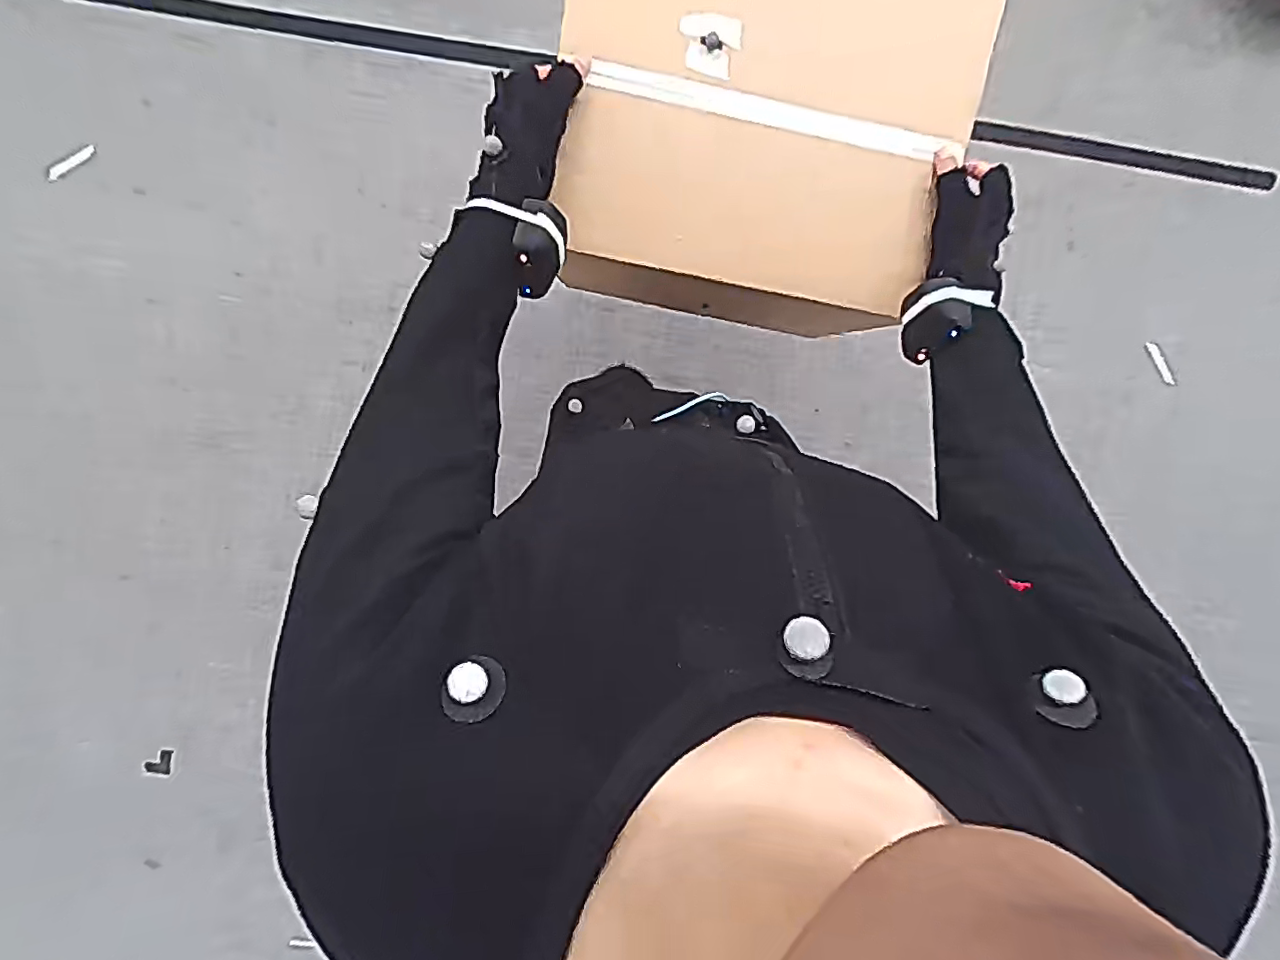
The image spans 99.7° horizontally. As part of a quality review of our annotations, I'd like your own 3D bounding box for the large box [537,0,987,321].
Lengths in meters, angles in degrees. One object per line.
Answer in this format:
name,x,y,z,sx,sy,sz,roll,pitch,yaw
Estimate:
large box,0.112,-0.395,0.674,0.408,0.320,0.320,10,101,-4
